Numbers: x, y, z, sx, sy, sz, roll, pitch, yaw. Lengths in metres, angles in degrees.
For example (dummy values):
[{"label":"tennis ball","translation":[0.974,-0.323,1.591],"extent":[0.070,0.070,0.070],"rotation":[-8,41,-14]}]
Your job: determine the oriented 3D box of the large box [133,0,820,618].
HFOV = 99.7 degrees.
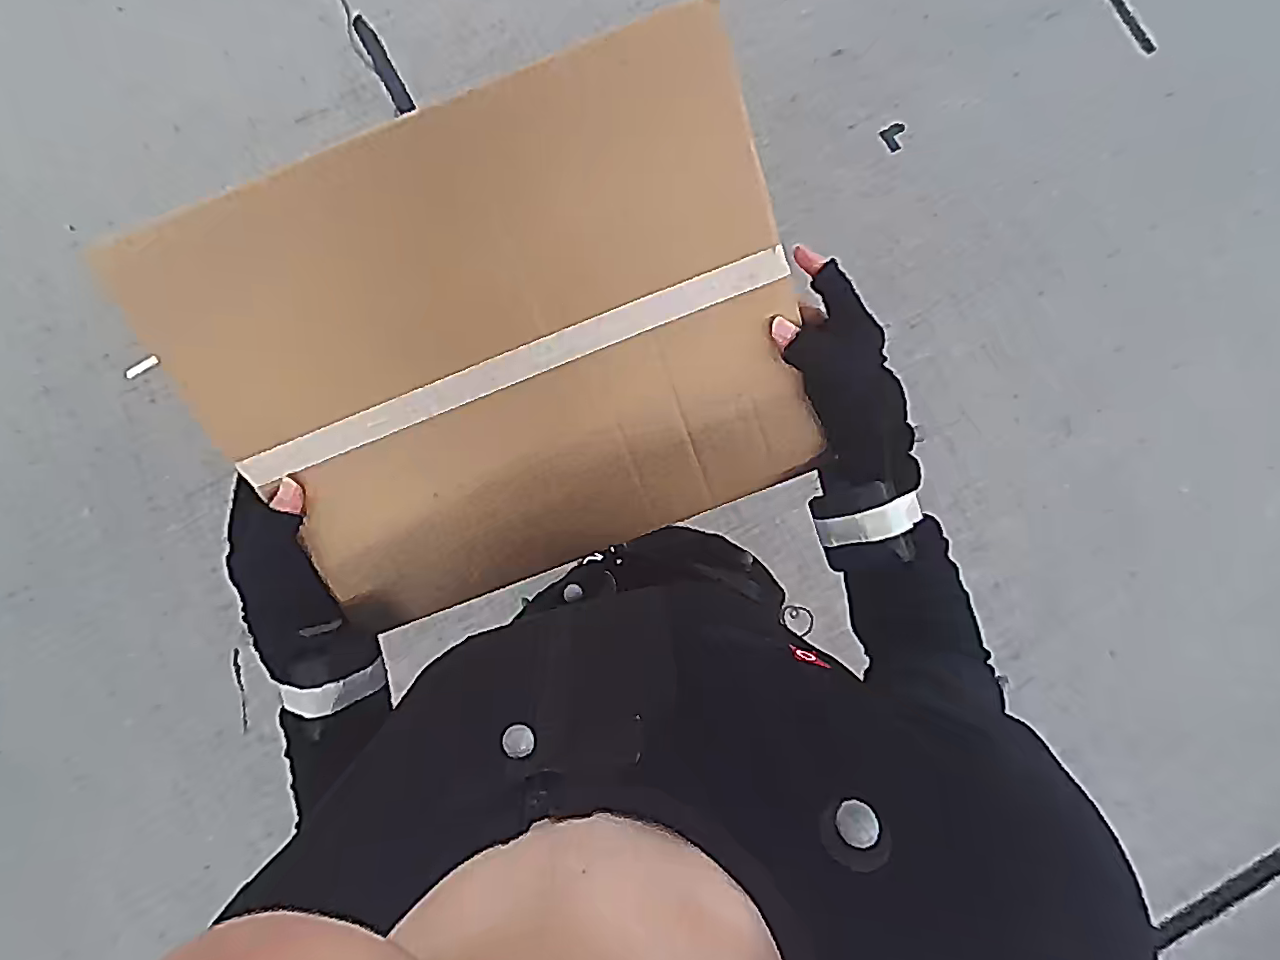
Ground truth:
[{"label":"large box","translation":[-0.105,-0.138,0.526],"extent":[0.408,0.320,0.320],"rotation":[-21,113,2]}]
